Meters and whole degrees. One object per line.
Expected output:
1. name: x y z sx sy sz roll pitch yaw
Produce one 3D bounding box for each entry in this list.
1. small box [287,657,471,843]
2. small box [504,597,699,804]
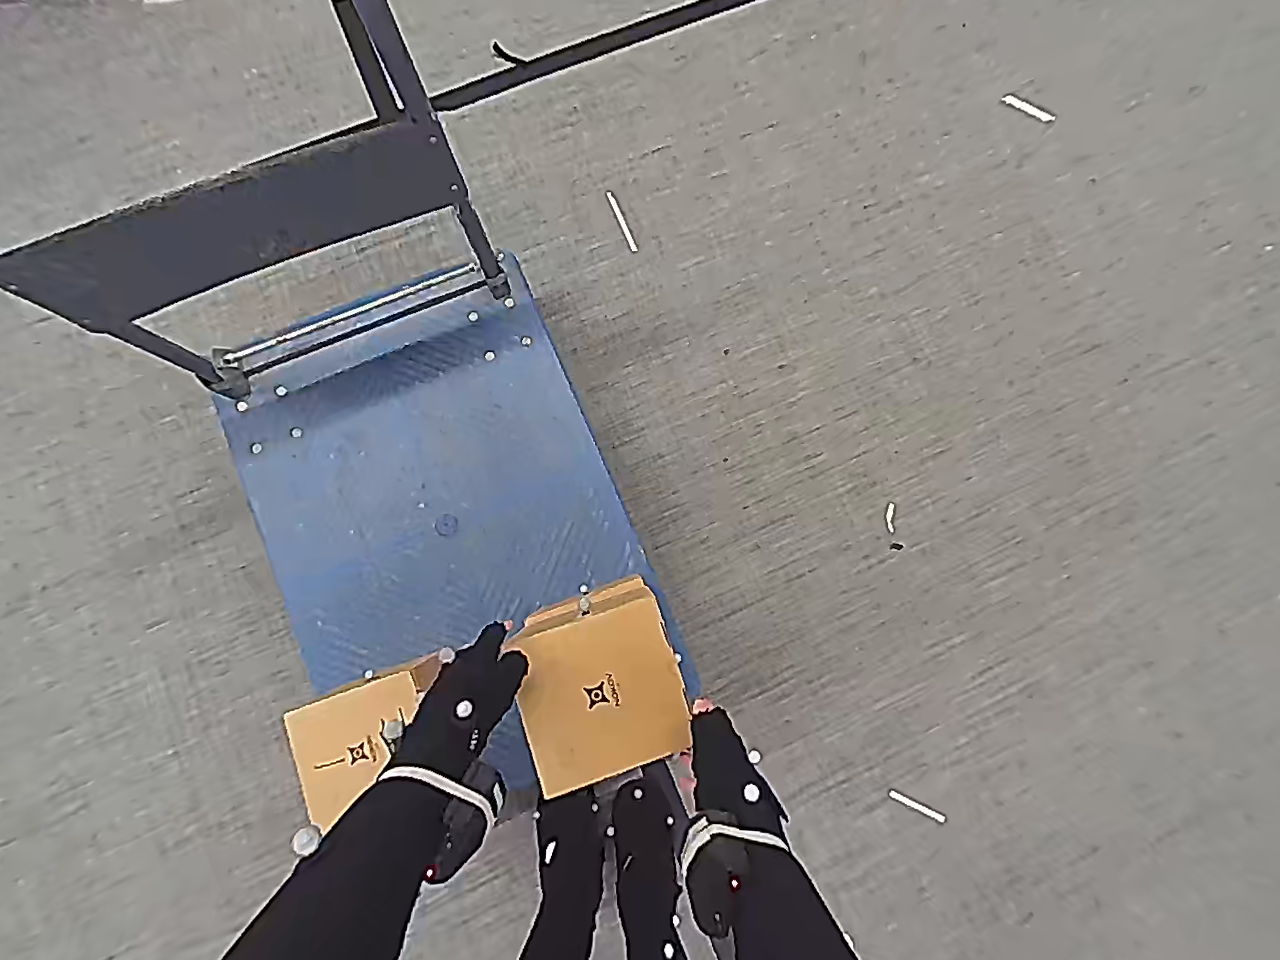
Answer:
1. small box: -0.361 0.374 0.787 0.179 0.176 0.168 -19 83 -4
2. small box: -0.045 0.248 0.655 0.179 0.176 0.168 -17 83 -6
